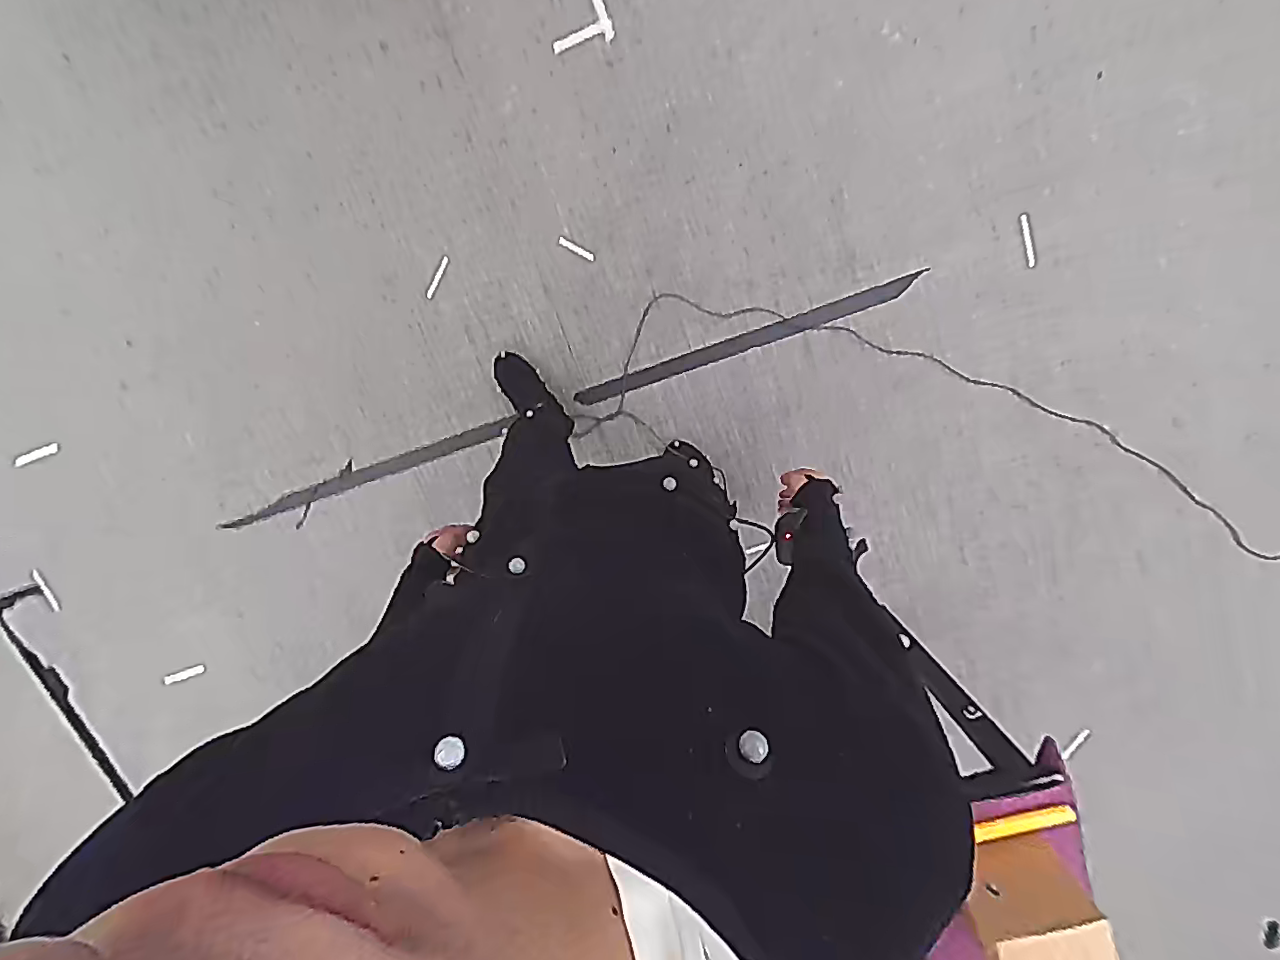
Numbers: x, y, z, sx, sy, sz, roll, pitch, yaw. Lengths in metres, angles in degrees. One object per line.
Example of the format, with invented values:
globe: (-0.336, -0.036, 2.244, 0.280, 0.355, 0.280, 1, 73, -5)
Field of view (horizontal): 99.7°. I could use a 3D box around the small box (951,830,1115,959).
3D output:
small box: (0.671, 0.755, 0.940, 0.179, 0.176, 0.168, -19, 102, 8)
